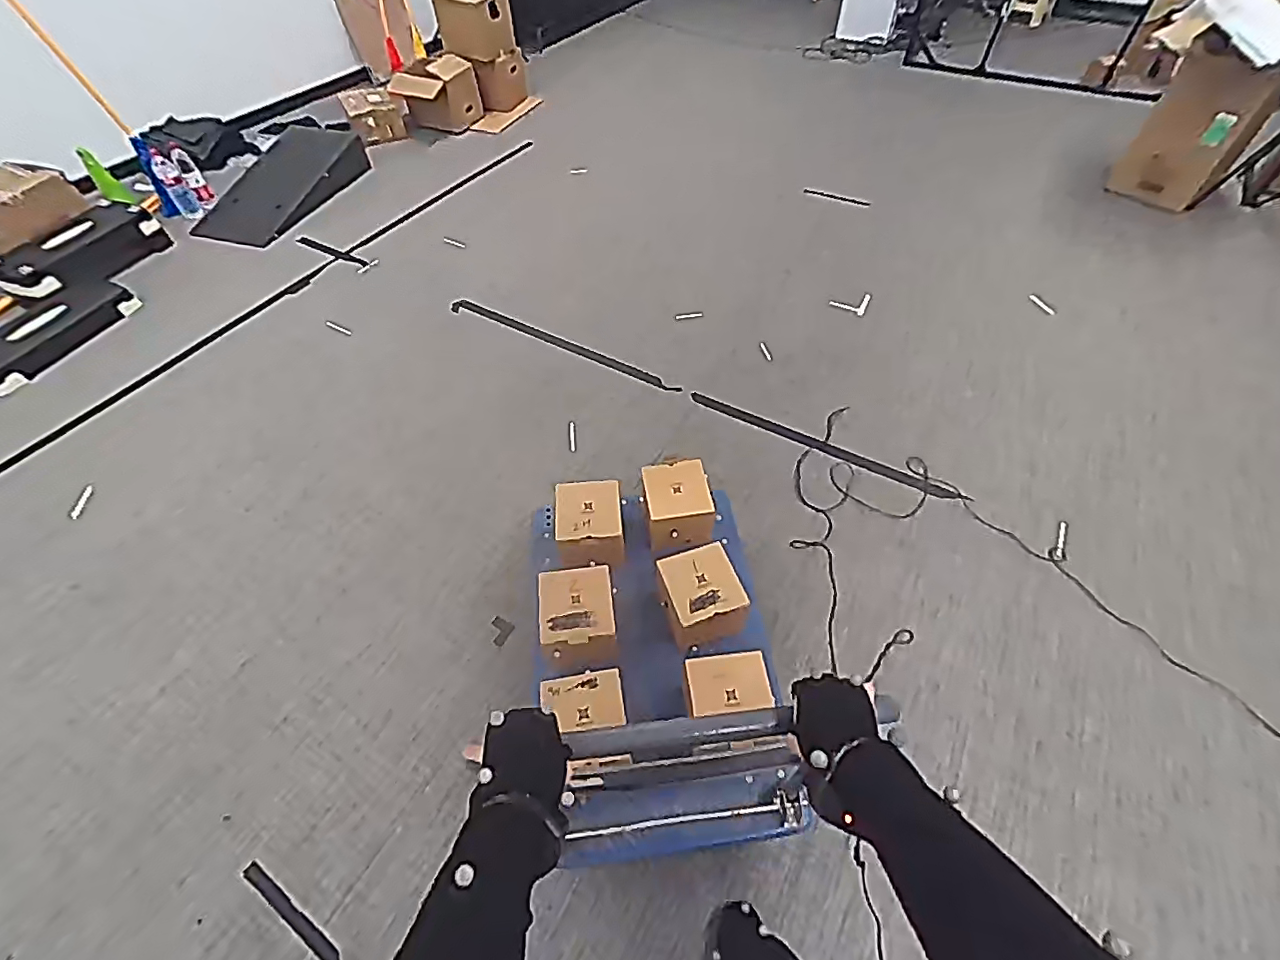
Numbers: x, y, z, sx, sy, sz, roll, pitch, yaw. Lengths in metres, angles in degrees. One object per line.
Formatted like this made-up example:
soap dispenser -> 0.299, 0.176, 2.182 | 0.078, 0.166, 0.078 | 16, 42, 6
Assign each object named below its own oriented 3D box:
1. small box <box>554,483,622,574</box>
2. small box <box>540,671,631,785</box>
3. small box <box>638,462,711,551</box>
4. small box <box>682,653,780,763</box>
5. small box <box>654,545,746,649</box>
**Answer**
small box -> -0.135, 0.130, 1.434 | 0.168, 0.176, 0.179 | -5, 53, -2
small box -> -0.111, 0.524, 1.130 | 0.168, 0.176, 0.179 | -8, 53, -6
small box -> 0.091, 0.079, 1.473 | 0.168, 0.176, 0.179 | -8, 52, -5
small box -> 0.184, 0.490, 1.152 | 0.168, 0.176, 0.179 | -5, 51, -4
small box -> 0.140, 0.290, 1.308 | 0.168, 0.176, 0.179 | -15, 53, -11
